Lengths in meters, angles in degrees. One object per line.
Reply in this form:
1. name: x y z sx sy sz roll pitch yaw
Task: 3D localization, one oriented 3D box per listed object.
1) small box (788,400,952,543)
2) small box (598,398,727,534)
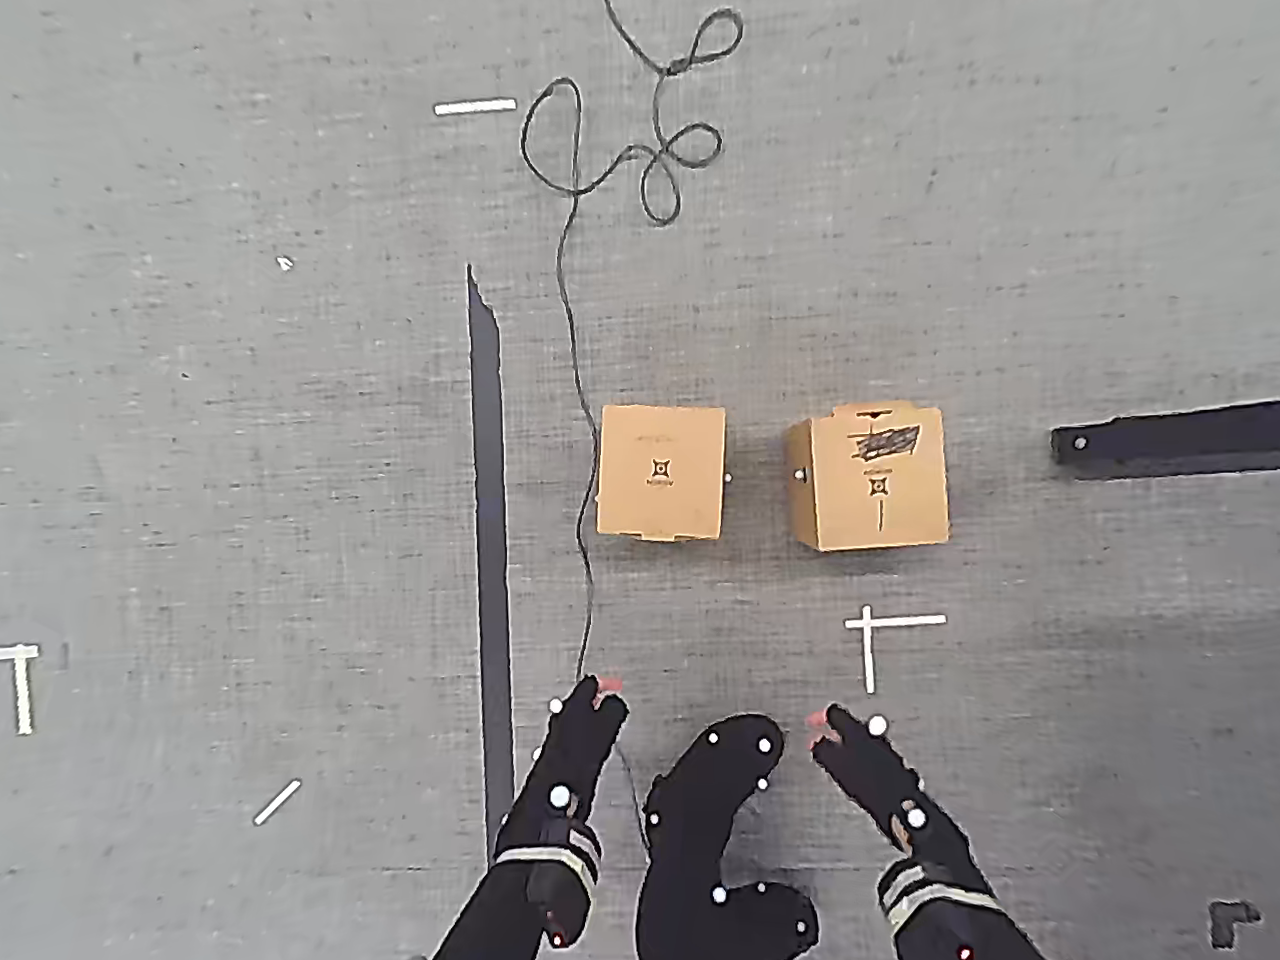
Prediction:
1. small box: 0.311 -0.009 0.766 0.168 0.176 0.179 -4 90 4
2. small box: 0.034 -0.019 0.789 0.168 0.176 0.179 2 89 3
